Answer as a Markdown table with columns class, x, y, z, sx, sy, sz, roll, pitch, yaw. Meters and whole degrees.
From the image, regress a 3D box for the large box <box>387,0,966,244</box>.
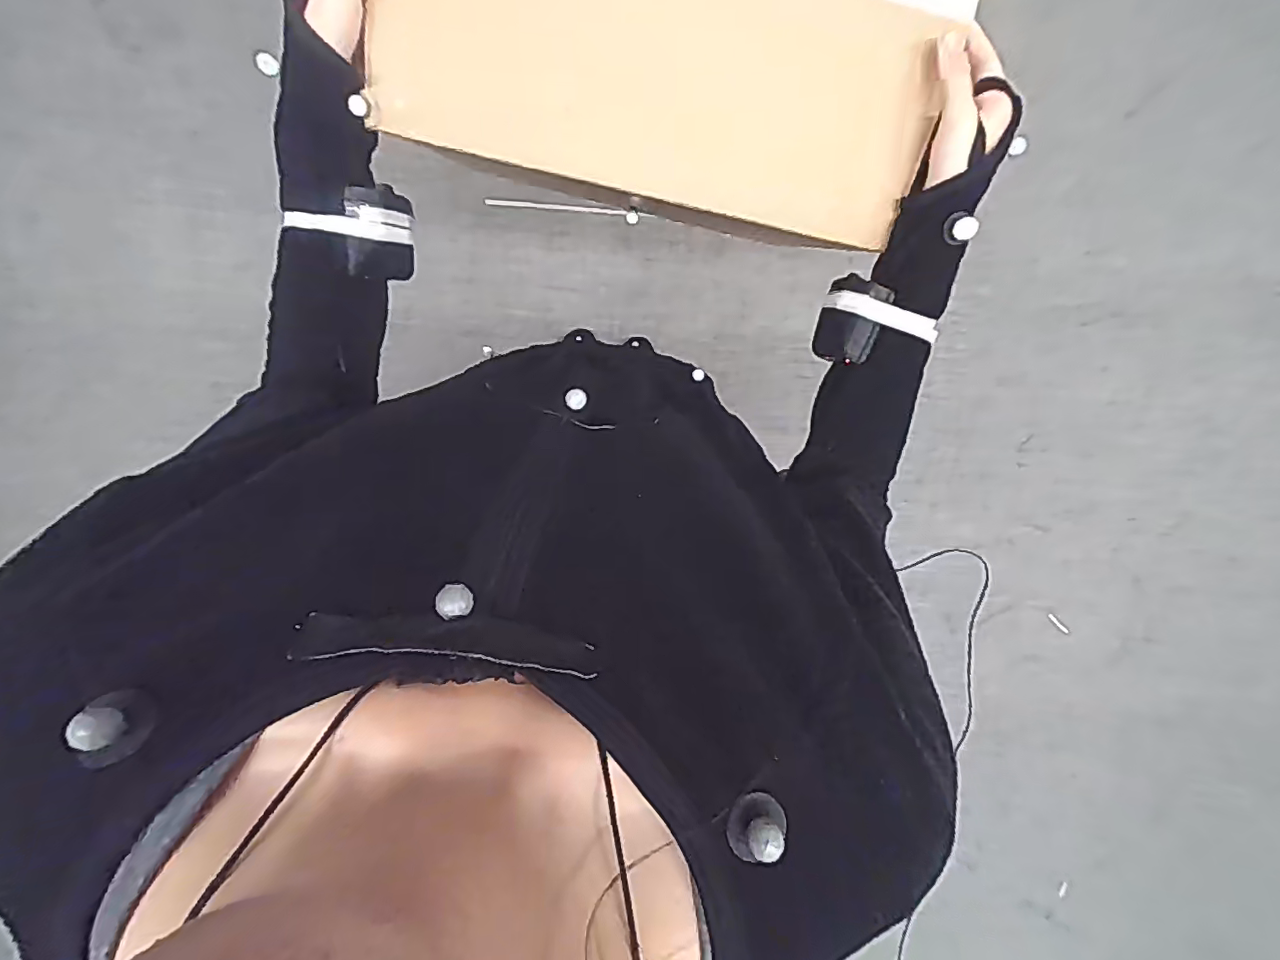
| class | x | y | z | sx | sy | sz | roll | pitch | yaw |
| --- | --- | --- | --- | --- | --- | --- | --- | --- | --- |
| large box | 0.031 | -0.425 | 0.499 | 0.408 | 0.320 | 0.320 | 10 | 113 | -6 |
